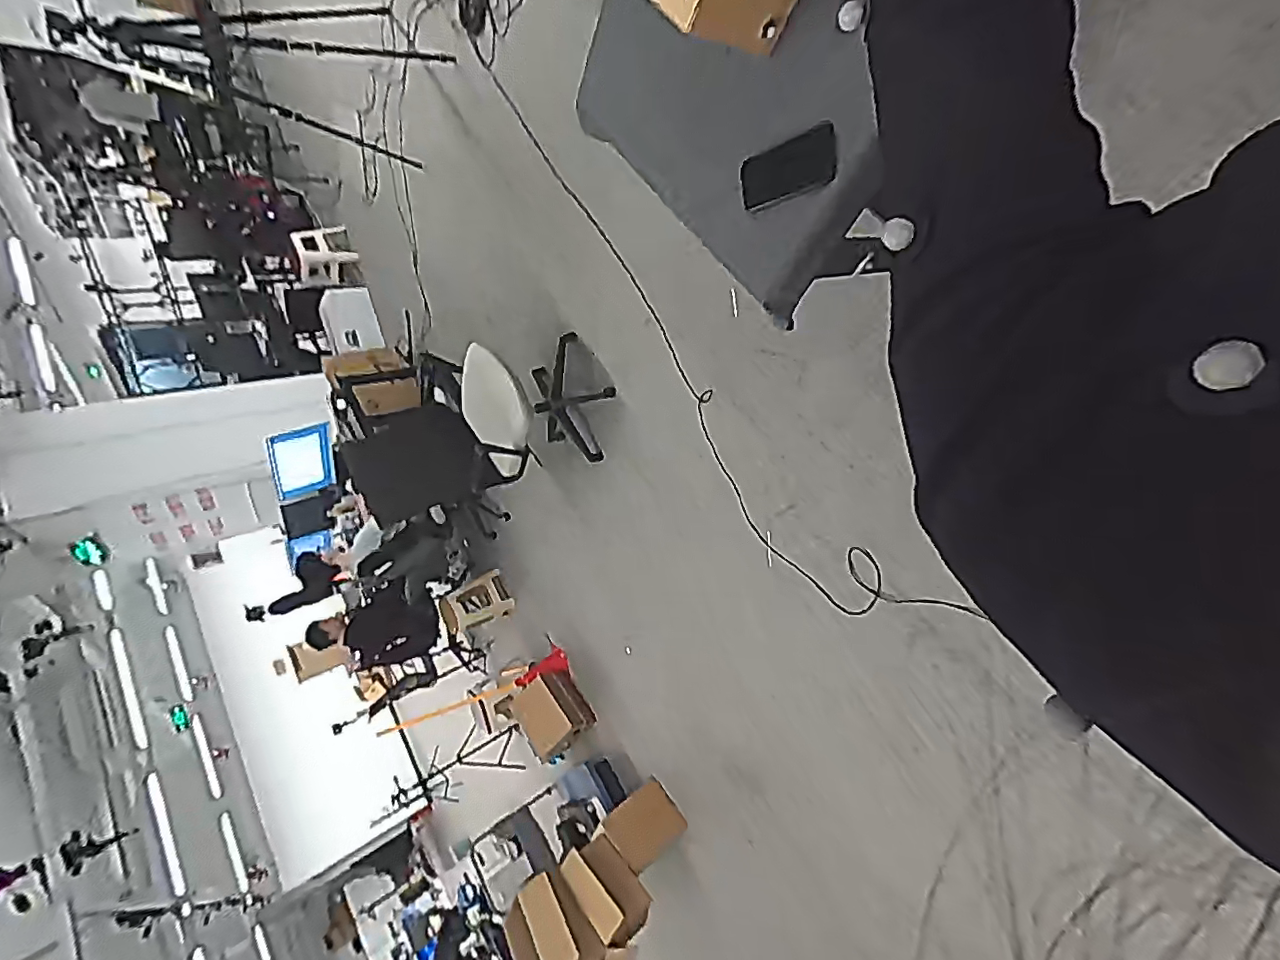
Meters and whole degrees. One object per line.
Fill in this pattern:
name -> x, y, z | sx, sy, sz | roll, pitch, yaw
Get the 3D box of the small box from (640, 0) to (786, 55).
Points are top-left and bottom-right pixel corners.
small box -> 0.100, -0.688, 0.696 | 0.179, 0.176, 0.168 | 57, 141, 18
